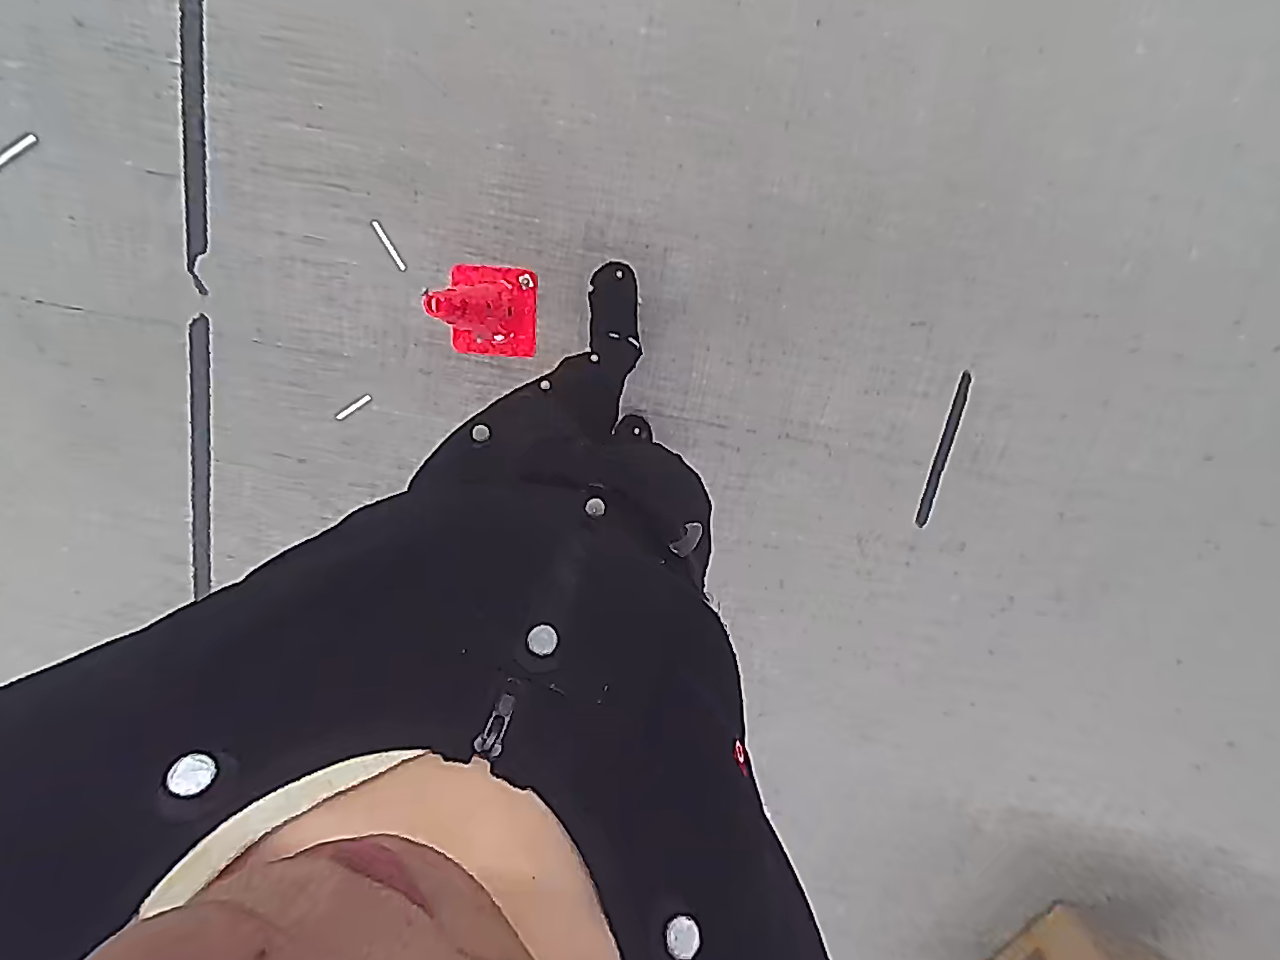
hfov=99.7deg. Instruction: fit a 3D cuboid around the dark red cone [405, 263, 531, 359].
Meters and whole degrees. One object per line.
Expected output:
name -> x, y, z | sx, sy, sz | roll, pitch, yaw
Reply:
dark red cone -> -0.355, -0.338, 1.068 | 0.201, 0.394, 0.202 | 4, 105, 2
